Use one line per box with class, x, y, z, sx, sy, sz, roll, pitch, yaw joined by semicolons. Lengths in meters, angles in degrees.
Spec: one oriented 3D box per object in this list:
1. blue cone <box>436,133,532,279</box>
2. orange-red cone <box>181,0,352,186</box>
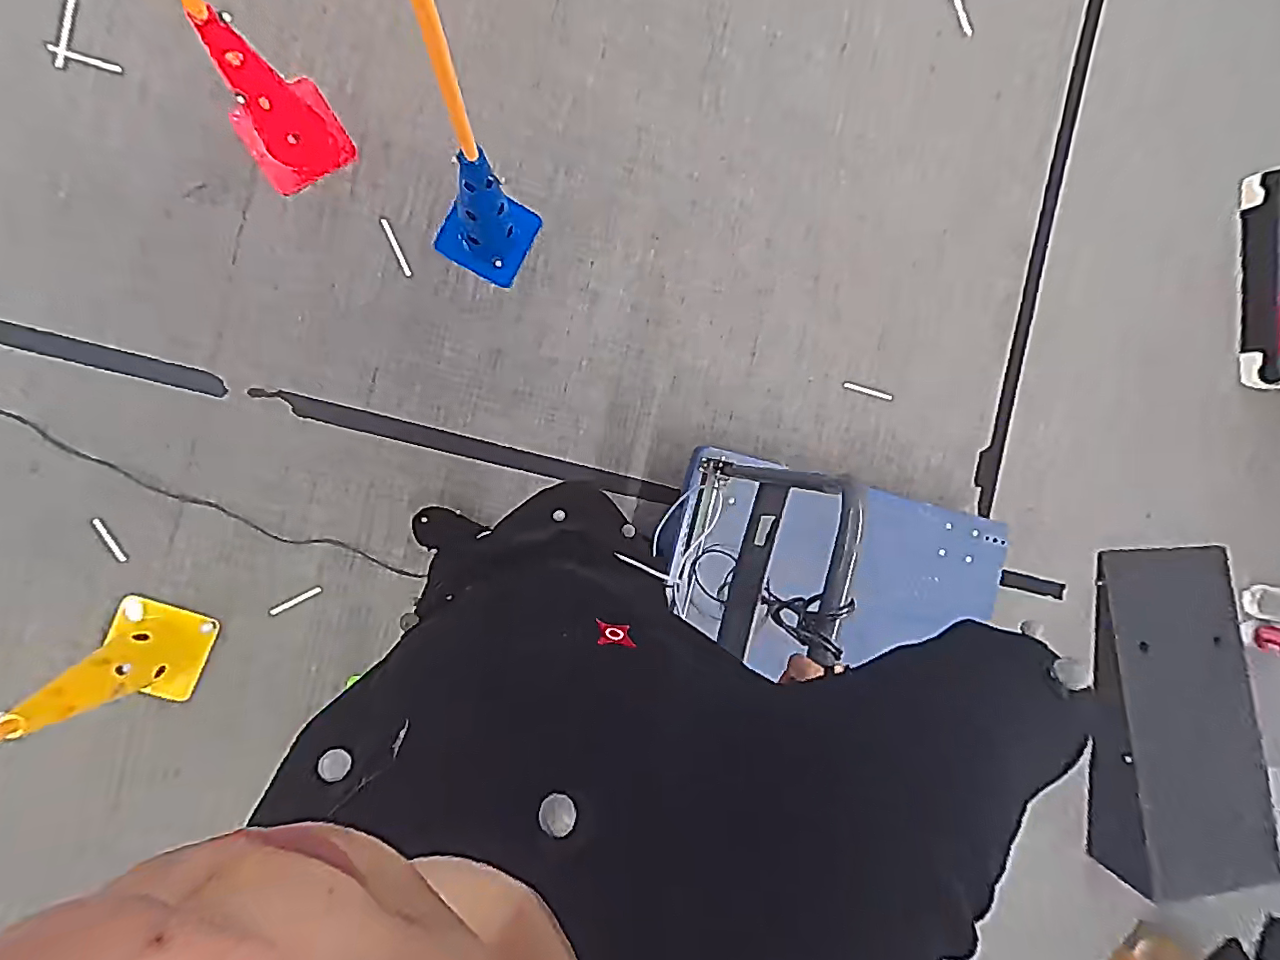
blue cone;-0.339;-0.587;1.121;0.192;0.380;0.193;29;87;-10
orange-red cone;-0.735;-0.762;1.024;0.198;0.360;0.199;-32;99;-7
